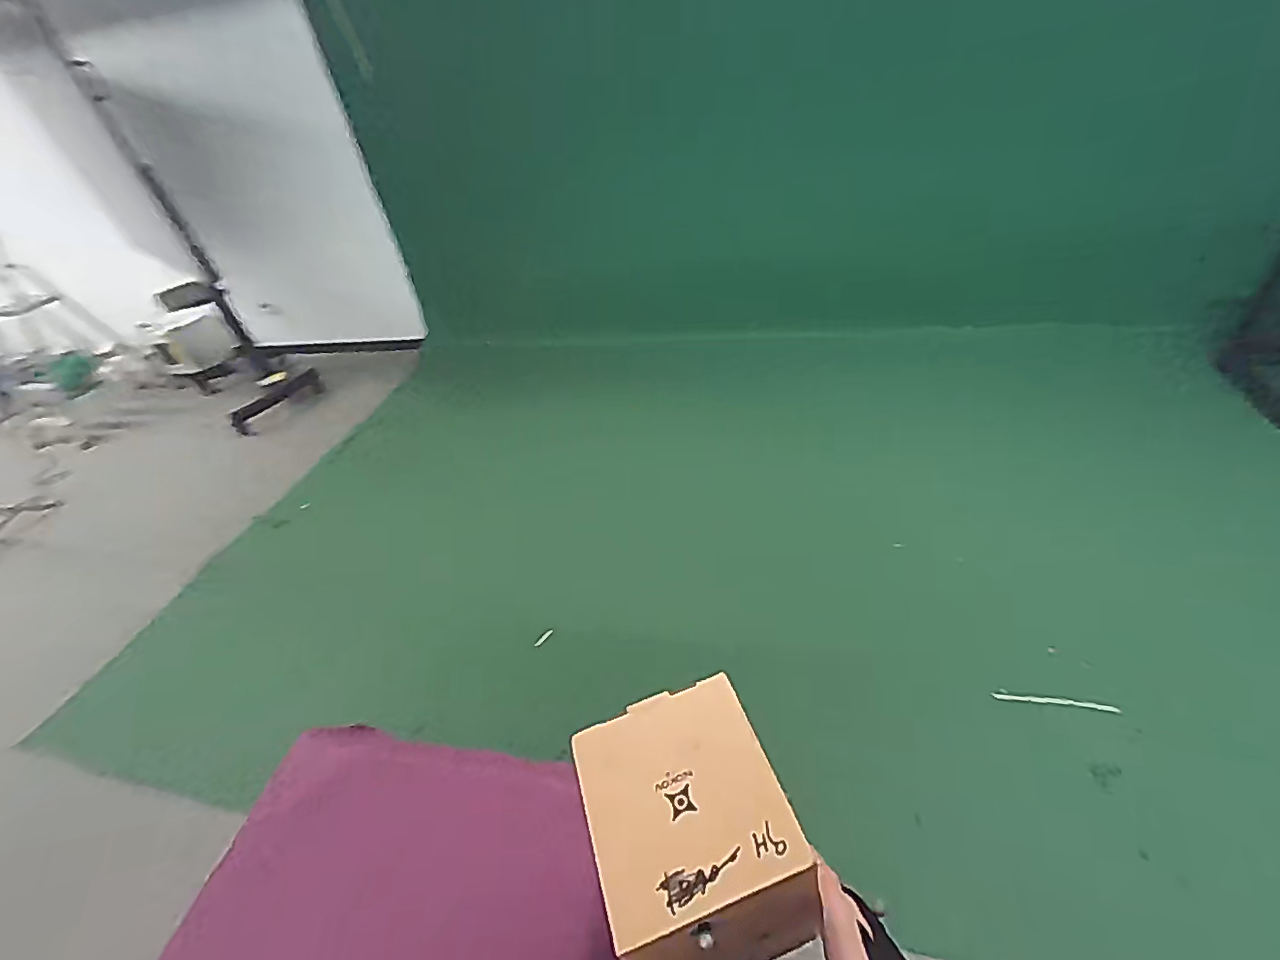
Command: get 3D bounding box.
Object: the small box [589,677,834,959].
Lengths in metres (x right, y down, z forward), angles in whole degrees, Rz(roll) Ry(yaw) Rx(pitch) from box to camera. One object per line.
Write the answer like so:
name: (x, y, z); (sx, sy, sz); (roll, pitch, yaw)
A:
small box: (0.064, 0.330, 0.515); (0.168, 0.176, 0.179); (-20, 39, -4)
